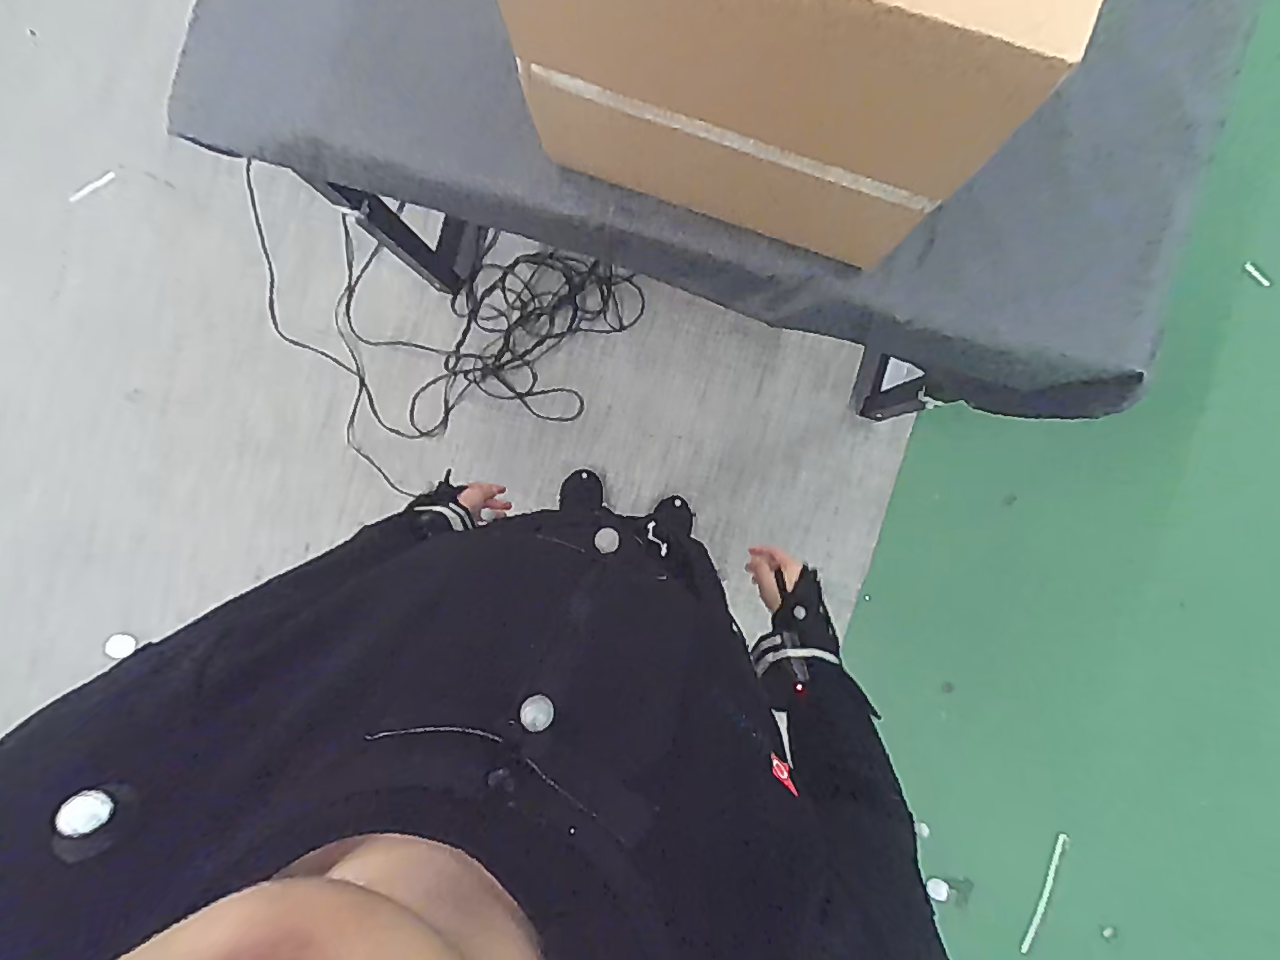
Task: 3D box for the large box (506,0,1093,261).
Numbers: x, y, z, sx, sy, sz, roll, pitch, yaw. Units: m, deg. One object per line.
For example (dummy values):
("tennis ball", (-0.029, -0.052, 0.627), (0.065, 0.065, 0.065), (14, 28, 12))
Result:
("large box", (0.130, -0.453, 0.487), (0.408, 0.320, 0.320), (18, 89, 1))
